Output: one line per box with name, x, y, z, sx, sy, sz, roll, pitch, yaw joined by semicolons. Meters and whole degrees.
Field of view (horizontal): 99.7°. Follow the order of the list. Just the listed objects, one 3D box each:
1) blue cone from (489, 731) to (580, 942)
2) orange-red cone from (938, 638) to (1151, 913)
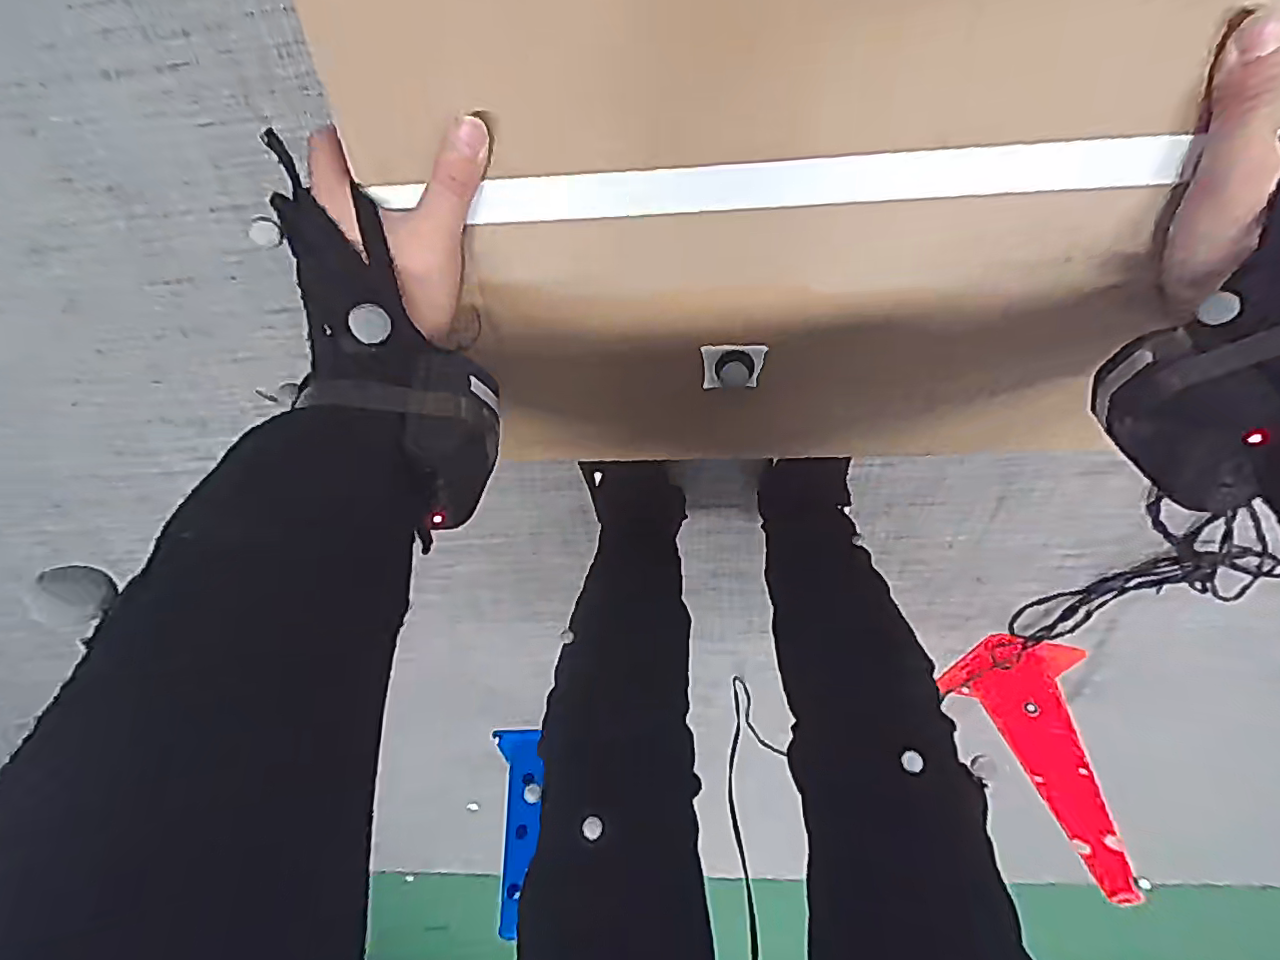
blue cone;-0.254;0.761;1.179;0.192;0.380;0.193;-2;129;5
orange-red cone;0.680;0.466;0.866;0.199;0.360;0.198;12;130;-8
